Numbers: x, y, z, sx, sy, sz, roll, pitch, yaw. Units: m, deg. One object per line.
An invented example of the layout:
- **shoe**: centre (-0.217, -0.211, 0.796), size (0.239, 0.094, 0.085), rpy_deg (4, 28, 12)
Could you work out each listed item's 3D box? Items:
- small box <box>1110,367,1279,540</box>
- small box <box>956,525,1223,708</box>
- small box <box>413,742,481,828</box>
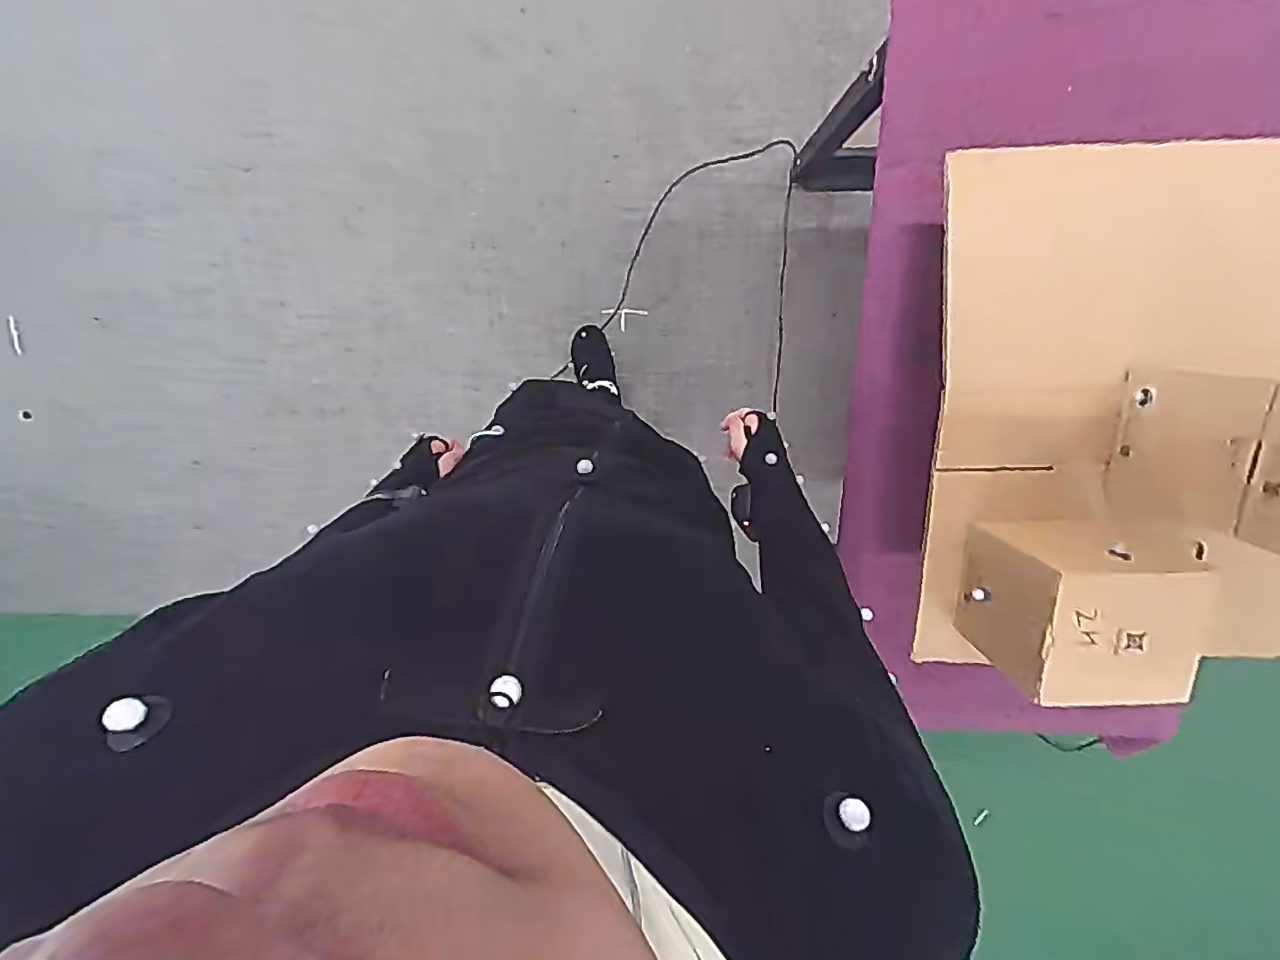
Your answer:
- **small box**: centre (0.699, -0.038, 0.617), size (0.179, 0.176, 0.168), rpy_deg (-2, 106, 0)
- **small box**: centre (0.534, 0.159, 0.672), size (0.179, 0.176, 0.168), rpy_deg (-1, 104, 1)
- **small box**: centre (-0.631, 0.999, 1.779), size (0.168, 0.176, 0.179), rpy_deg (5, 102, -1)
